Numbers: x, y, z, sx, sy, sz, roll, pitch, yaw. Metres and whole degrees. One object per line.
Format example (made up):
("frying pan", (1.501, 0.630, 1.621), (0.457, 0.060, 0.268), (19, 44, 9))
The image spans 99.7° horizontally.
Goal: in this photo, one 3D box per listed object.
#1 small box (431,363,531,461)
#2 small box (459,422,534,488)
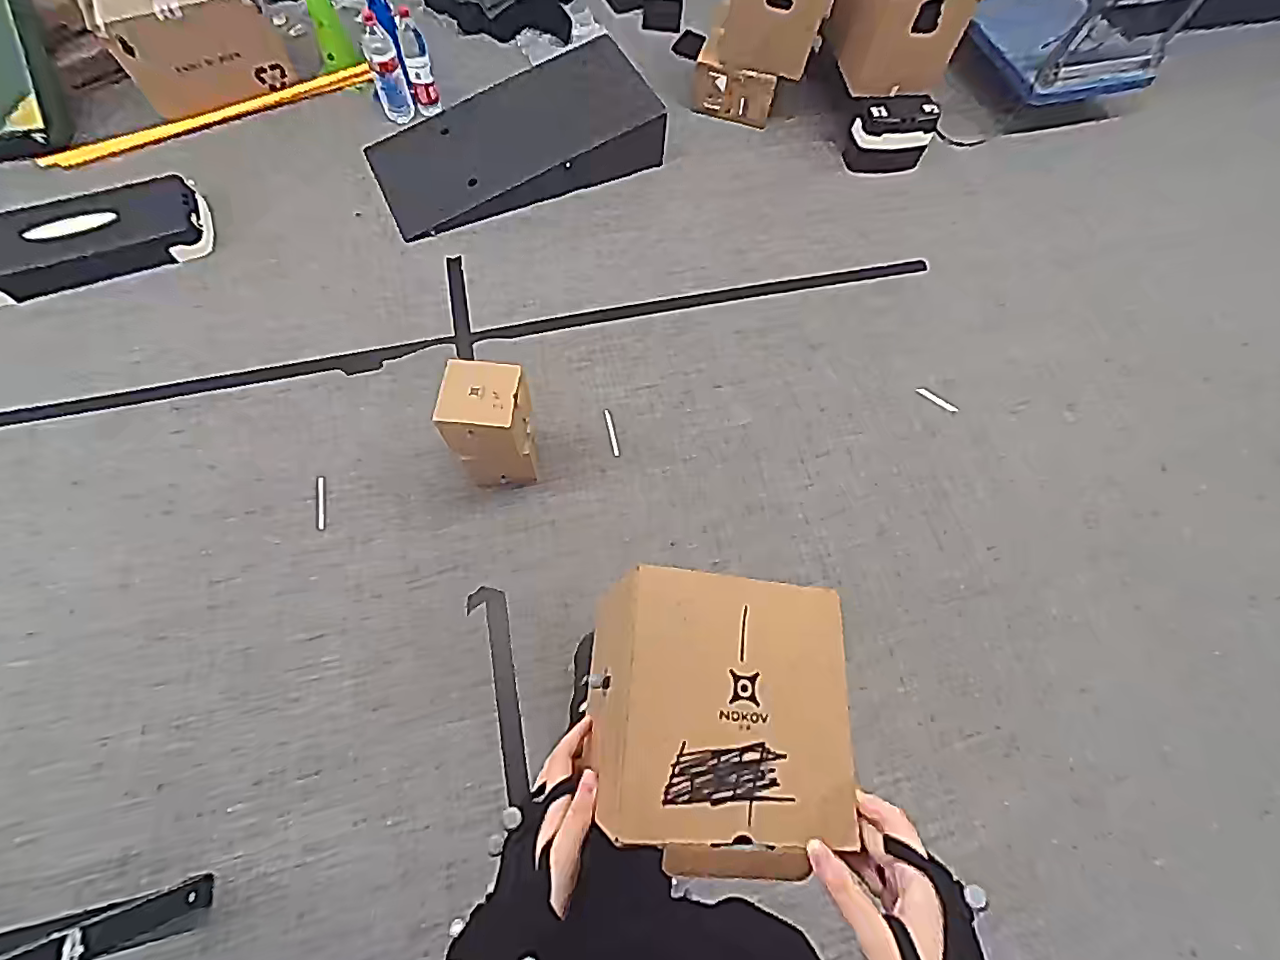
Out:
("small box", (-0.368, -0.156, 1.286), (0.179, 0.176, 0.168), (5, 67, -1))
("small box", (-0.375, -0.088, 1.436), (0.179, 0.176, 0.168), (-6, 67, -7))
